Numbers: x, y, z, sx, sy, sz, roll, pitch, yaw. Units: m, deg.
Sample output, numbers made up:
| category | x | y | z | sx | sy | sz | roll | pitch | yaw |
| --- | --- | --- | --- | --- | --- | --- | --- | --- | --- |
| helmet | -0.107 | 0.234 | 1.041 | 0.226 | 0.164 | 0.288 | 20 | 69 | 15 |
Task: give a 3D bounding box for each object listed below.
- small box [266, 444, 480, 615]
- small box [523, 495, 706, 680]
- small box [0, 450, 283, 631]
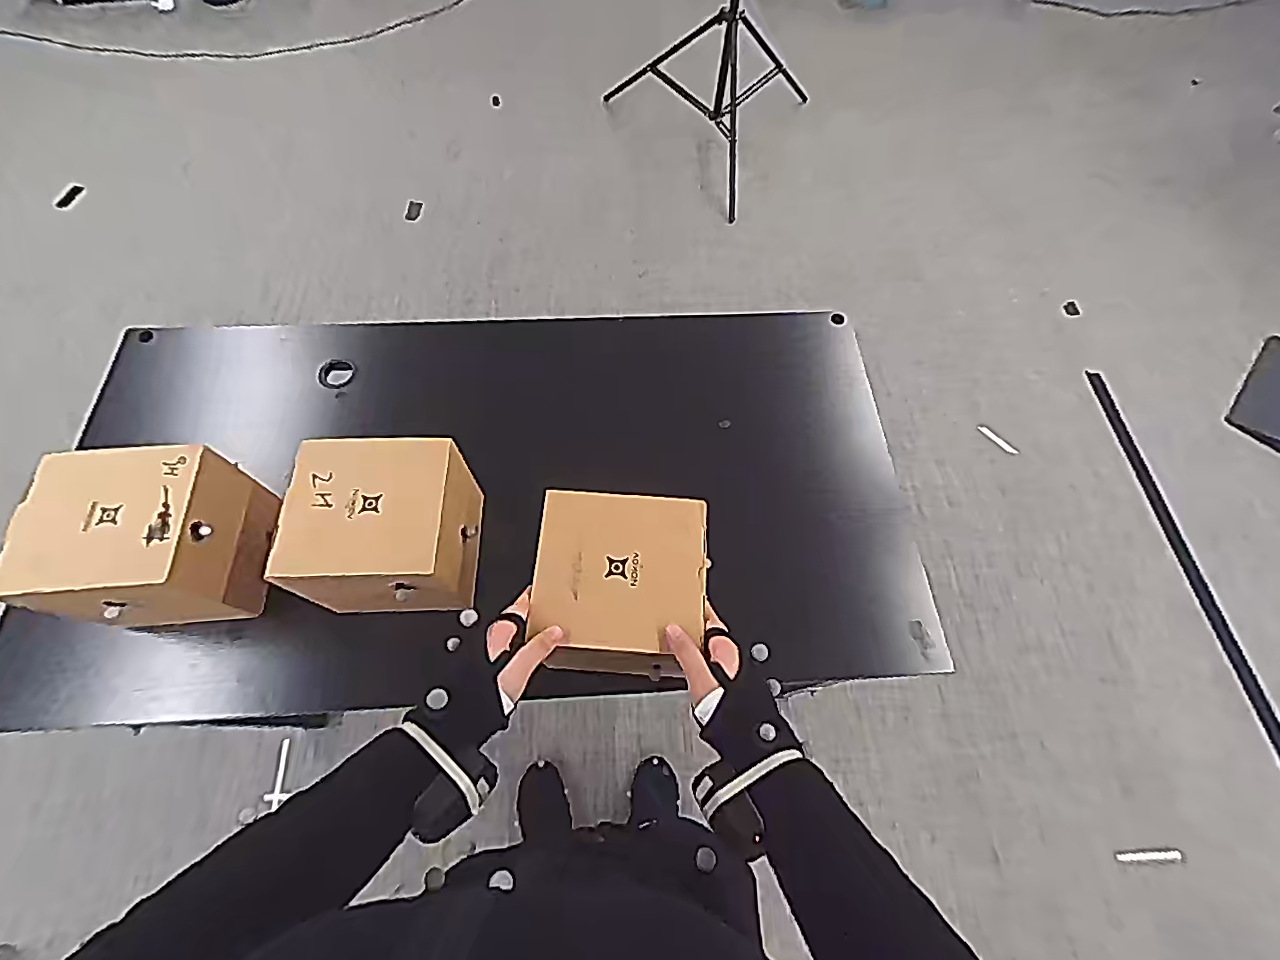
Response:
| category | x | y | z | sx | sy | sz | roll | pitch | yaw |
| --- | --- | --- | --- | --- | --- | --- | --- | --- | --- |
| small box | -0.306 | 0.067 | 0.667 | 0.179 | 0.176 | 0.168 | -1 | 64 | -2 |
| small box | -0.022 | 0.130 | 0.621 | 0.179 | 0.176 | 0.168 | 2 | 62 | 1 |
| small box | -0.579 | 0.080 | 0.654 | 0.179 | 0.176 | 0.168 | -5 | 64 | -4 |
